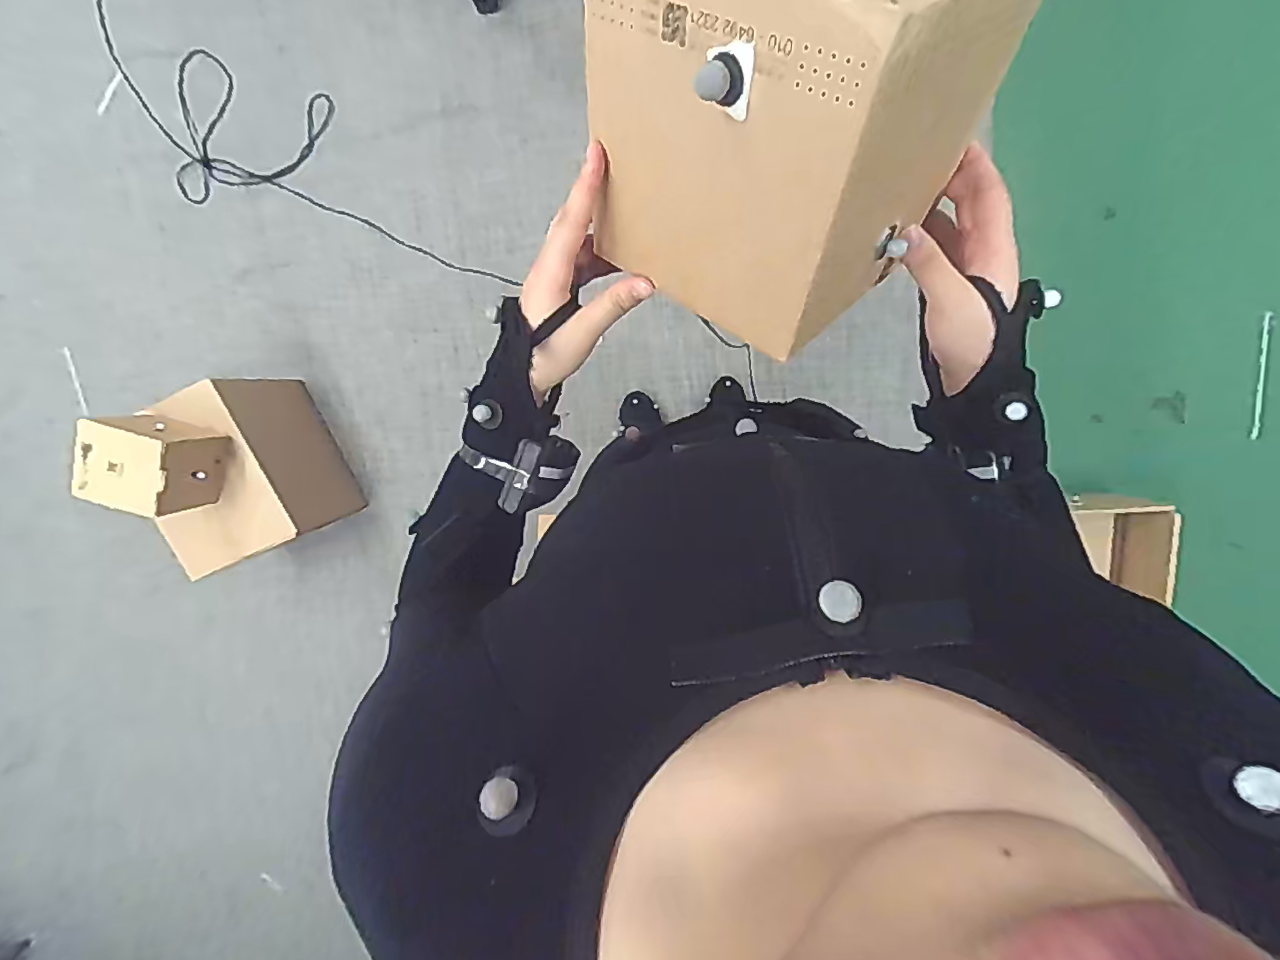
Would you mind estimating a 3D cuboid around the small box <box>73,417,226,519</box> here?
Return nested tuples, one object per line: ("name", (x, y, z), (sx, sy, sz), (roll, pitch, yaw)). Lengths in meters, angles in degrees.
("small box", (-1.040, -0.034, 1.159), (0.179, 0.176, 0.168), (16, 100, -1))

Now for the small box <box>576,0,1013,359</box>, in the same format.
("small box", (0.080, -0.213, 0.323), (0.168, 0.176, 0.179), (38, 60, 23))
